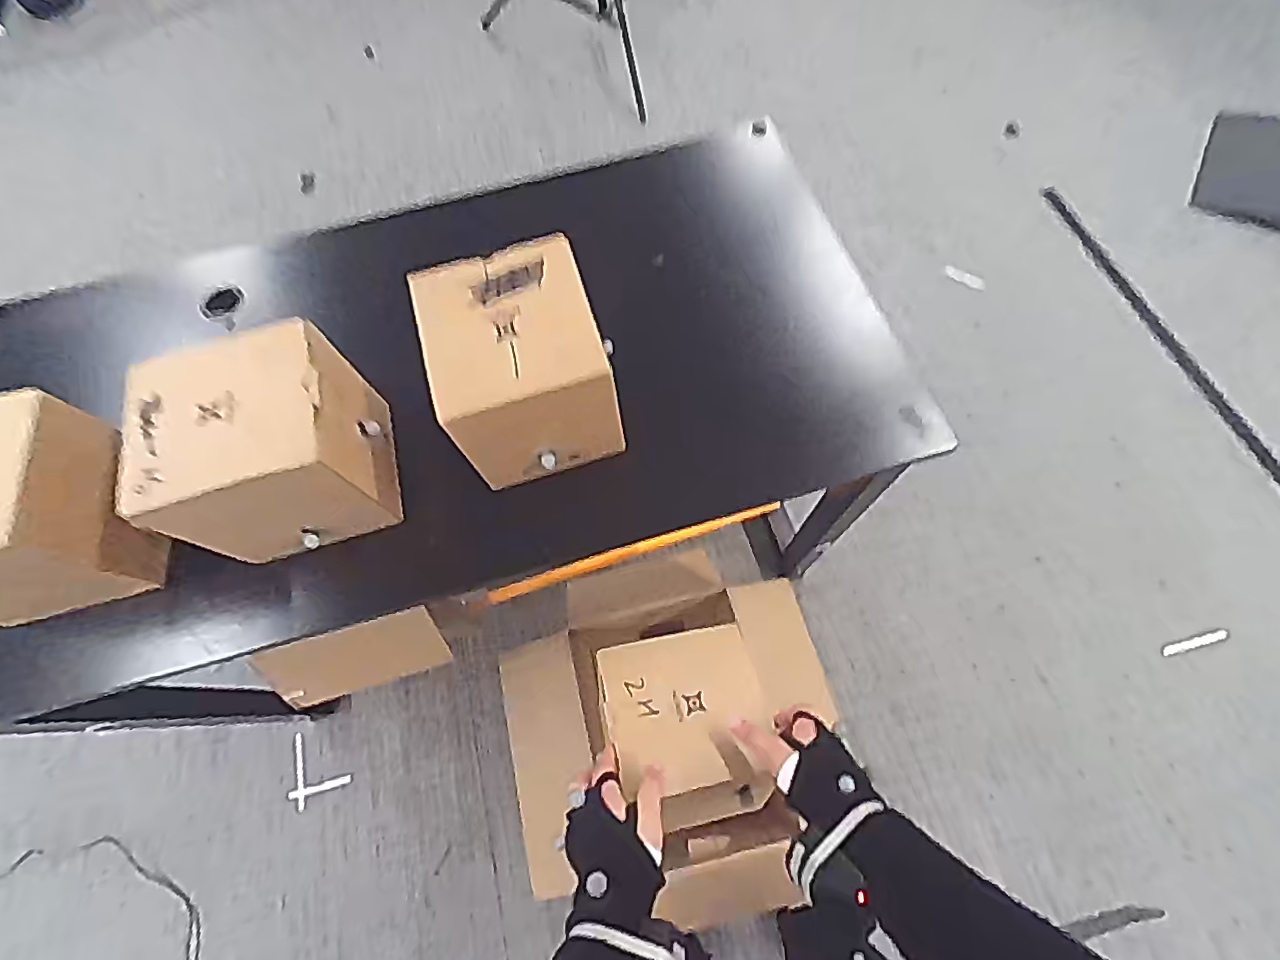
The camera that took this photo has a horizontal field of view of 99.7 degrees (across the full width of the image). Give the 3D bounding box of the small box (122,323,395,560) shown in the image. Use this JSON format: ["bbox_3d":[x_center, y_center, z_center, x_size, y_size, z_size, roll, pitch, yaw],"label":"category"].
[{"bbox_3d":[-0.379,-0.031,0.572,0.179,0.176,0.168,-16,67,-5],"label":"small box"}]

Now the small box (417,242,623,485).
[{"bbox_3d":[-0.122,-0.119,0.595,0.168,0.176,0.179,-17,68,-4],"label":"small box"}]

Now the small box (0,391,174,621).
[{"bbox_3d":[-0.633,0.037,0.556,0.179,0.176,0.168,-13,67,-4],"label":"small box"}]
